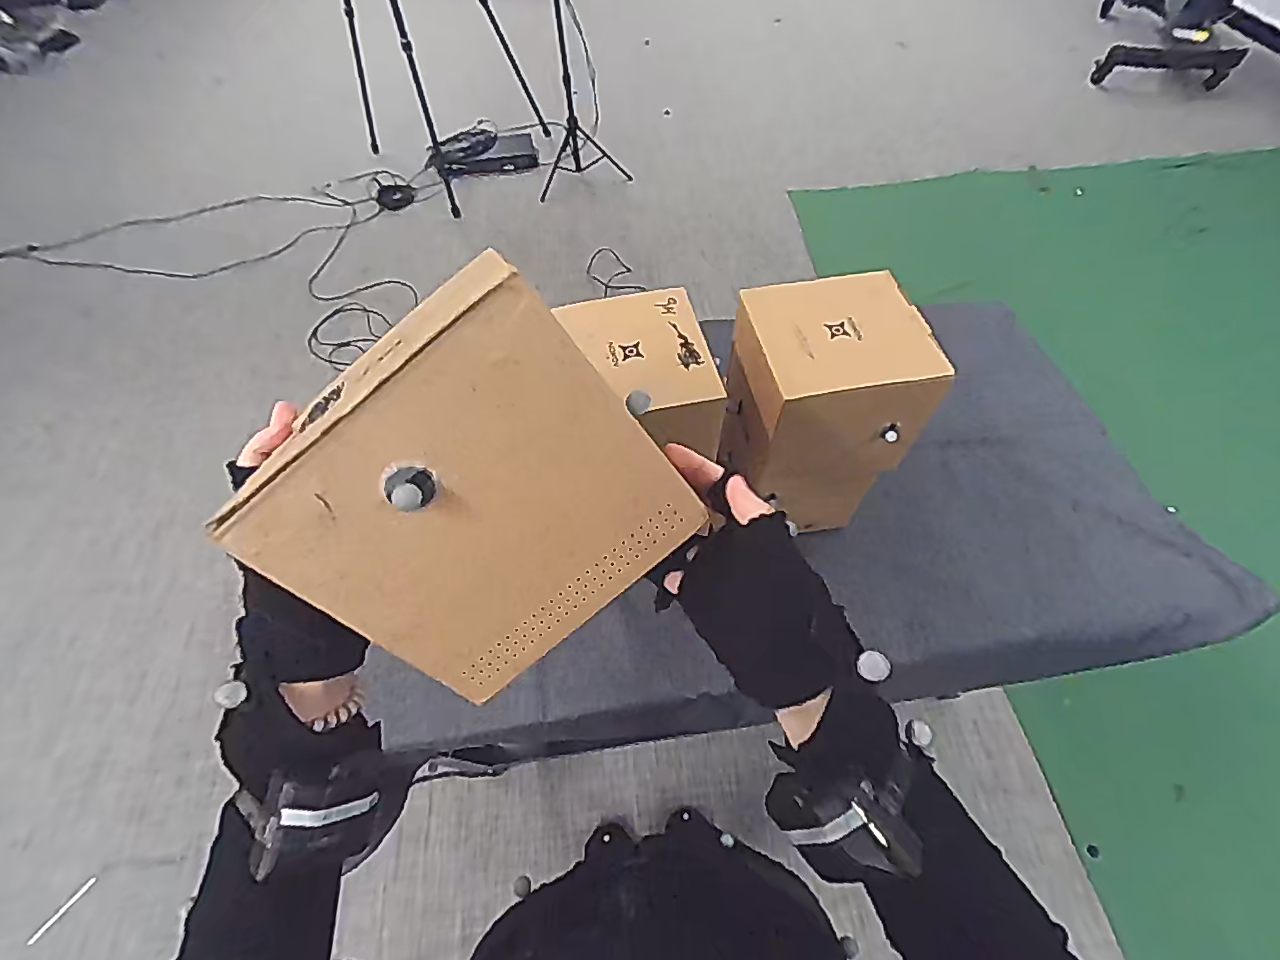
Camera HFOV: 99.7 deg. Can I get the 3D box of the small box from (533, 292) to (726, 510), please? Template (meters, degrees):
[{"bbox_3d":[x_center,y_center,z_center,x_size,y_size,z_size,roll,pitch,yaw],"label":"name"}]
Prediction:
[{"bbox_3d":[-0.011,-0.084,0.626,0.179,0.176,0.168,-13,59,-5],"label":"small box"}]
